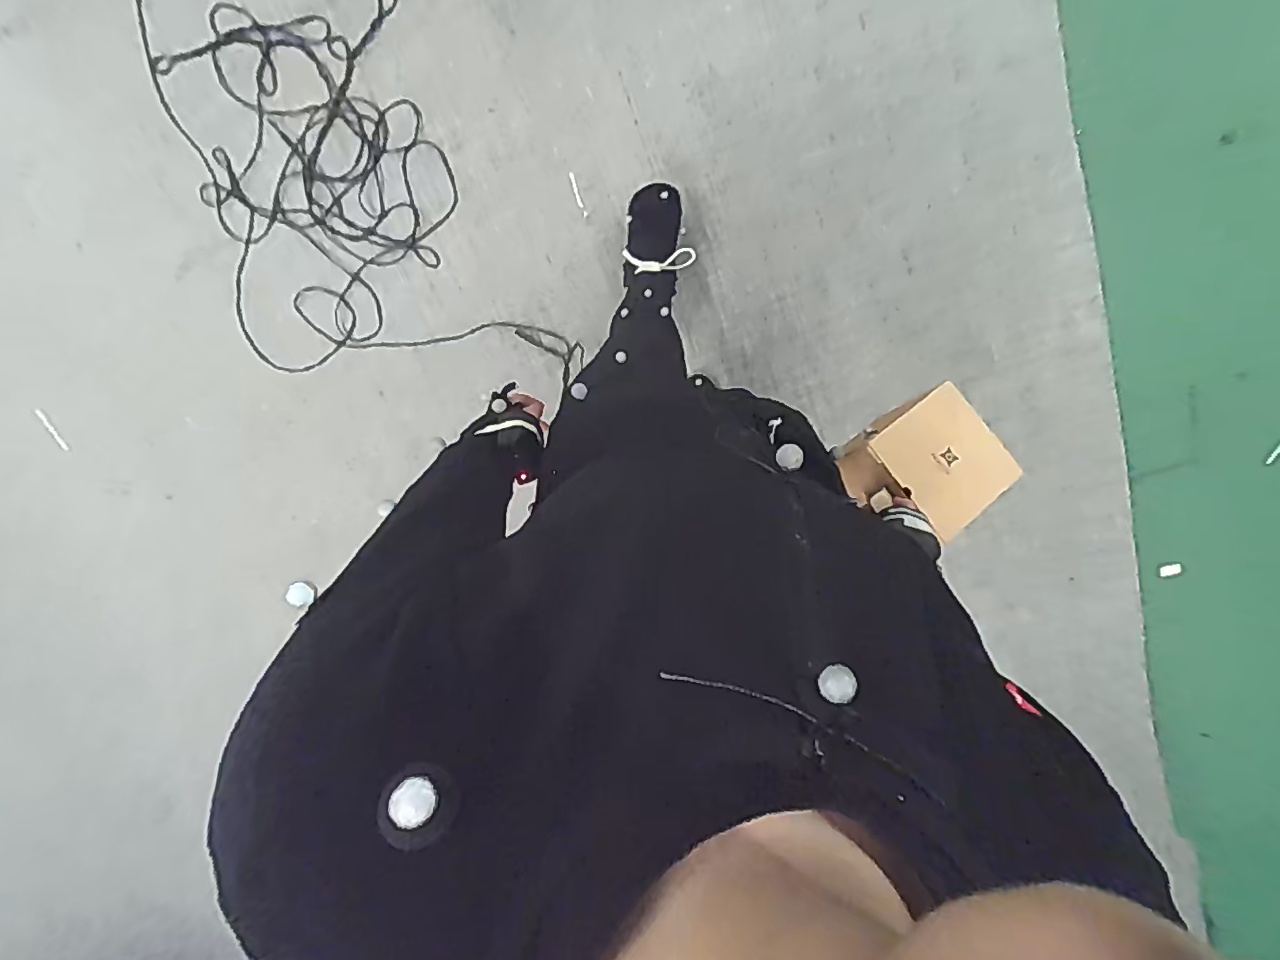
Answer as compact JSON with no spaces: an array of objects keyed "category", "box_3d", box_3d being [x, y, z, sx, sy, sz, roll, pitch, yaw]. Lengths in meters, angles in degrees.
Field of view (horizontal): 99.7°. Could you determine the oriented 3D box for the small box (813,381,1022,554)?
[{"category":"small box","box_3d":[0.393,-0.010,0.794,0.179,0.176,0.168,-35,85,-16]}]
